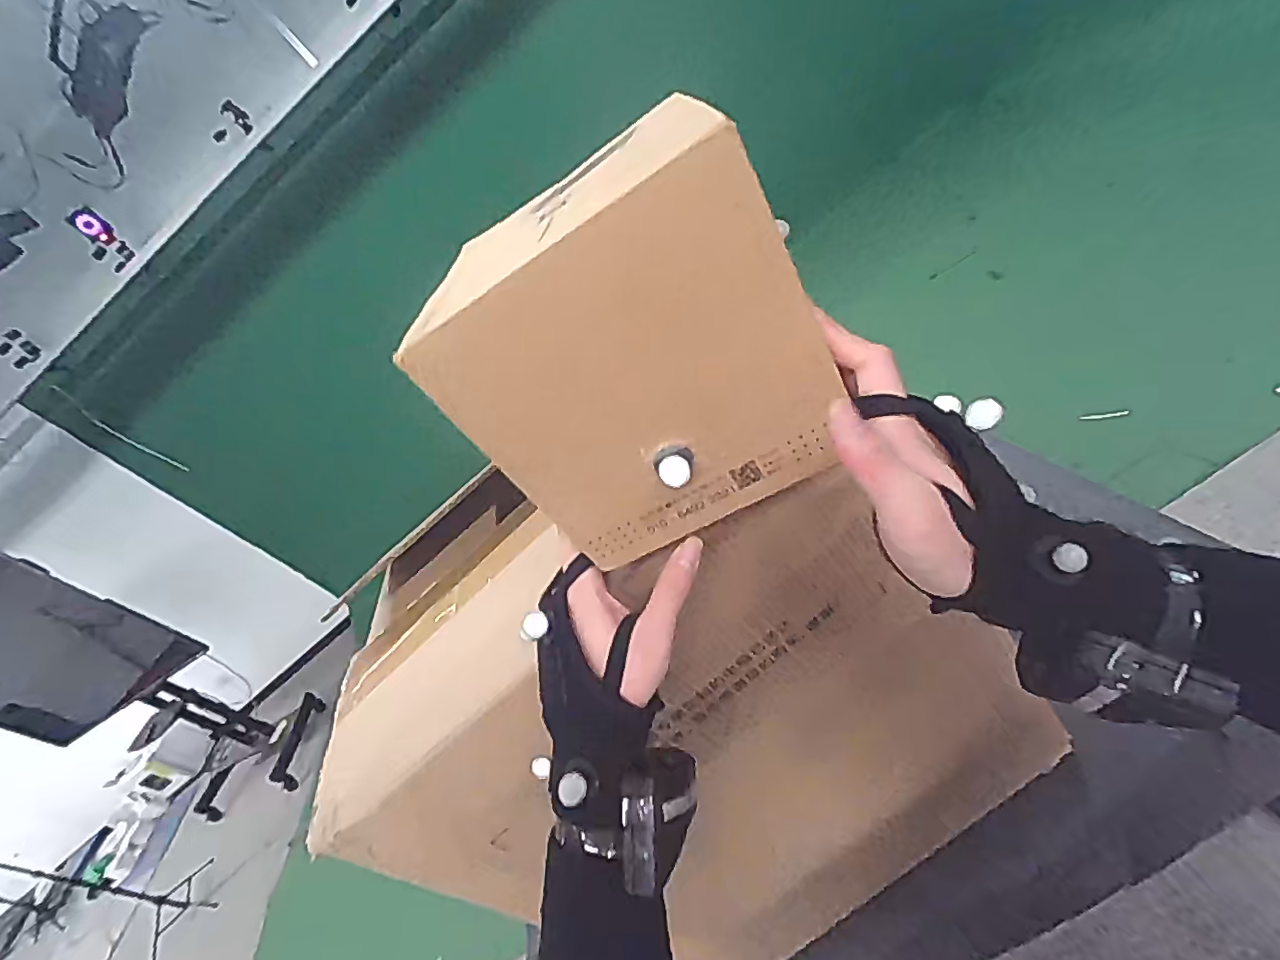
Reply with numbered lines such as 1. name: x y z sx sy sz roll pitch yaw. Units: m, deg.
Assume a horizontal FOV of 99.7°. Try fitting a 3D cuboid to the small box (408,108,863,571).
1. small box: 0.005 -0.080 0.322 0.168 0.176 0.179 -27 36 17
